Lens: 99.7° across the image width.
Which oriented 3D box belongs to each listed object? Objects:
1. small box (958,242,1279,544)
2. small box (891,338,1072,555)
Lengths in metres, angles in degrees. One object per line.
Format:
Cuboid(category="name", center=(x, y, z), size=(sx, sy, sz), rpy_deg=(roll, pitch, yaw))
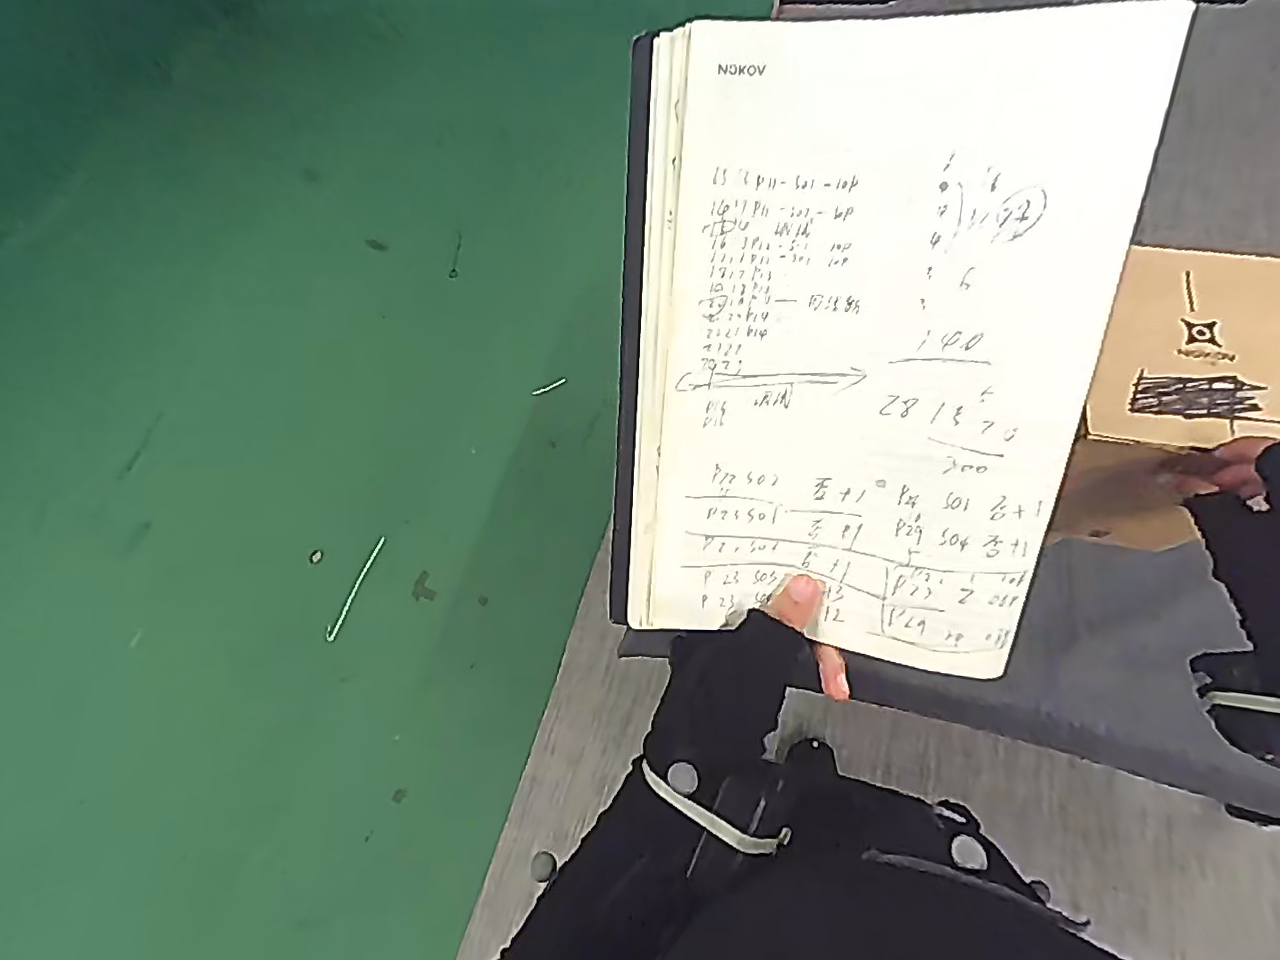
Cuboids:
Cuboid(category="small box", center=(0.387, -0.060, 0.444), size=(0.168, 0.176, 0.179), rpy_deg=(9, 66, 7))
Cuboid(category="small box", center=(0.407, -0.033, 0.629), size=(0.168, 0.176, 0.179), rpy_deg=(13, 68, 15))
